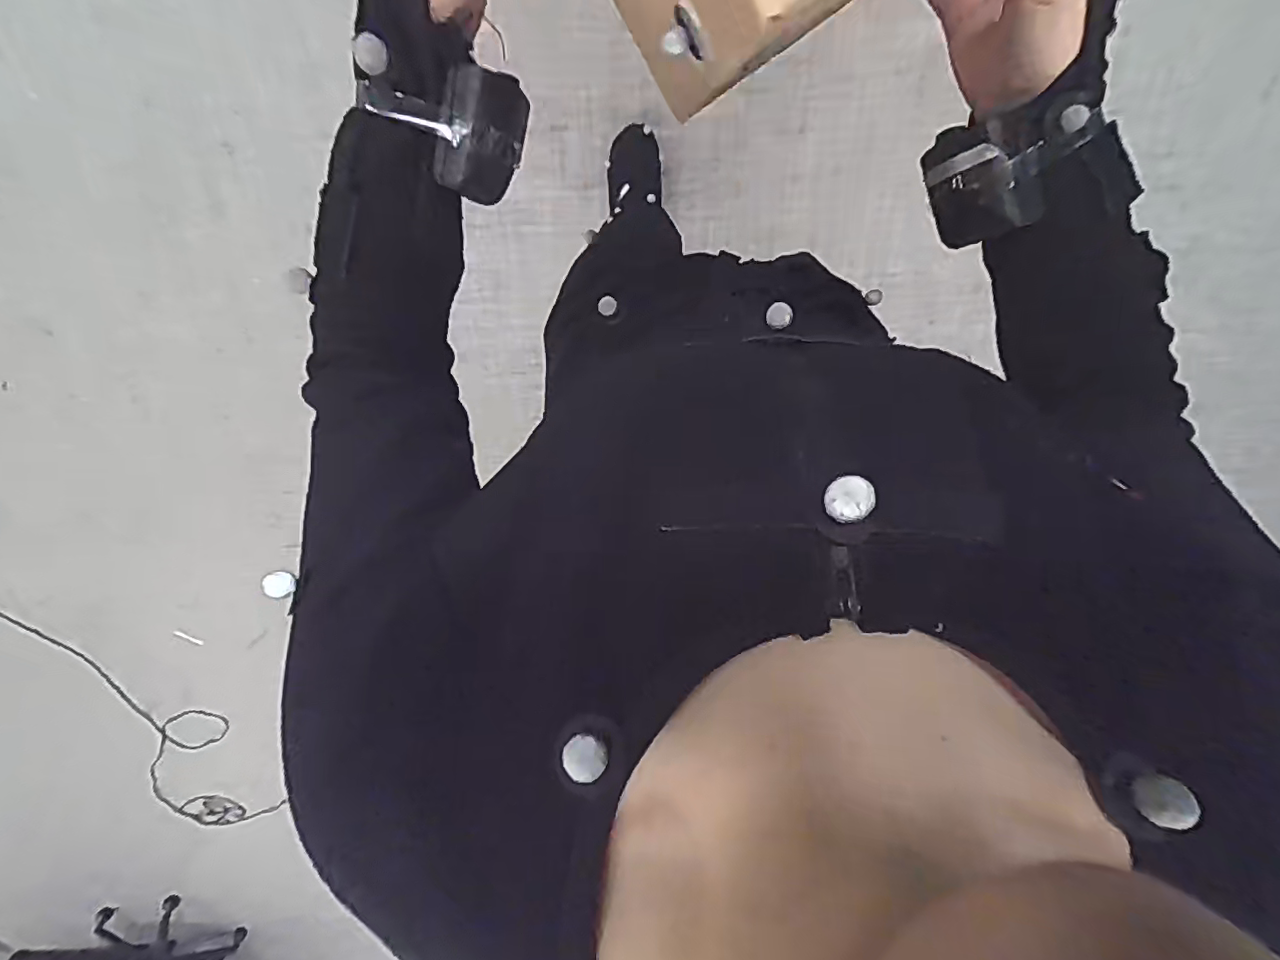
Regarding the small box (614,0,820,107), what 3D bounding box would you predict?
[{"bbox_3d":[0.053,-0.298,0.209,0.179,0.168,0.176,-33,113,8],"label":"small box"}]
